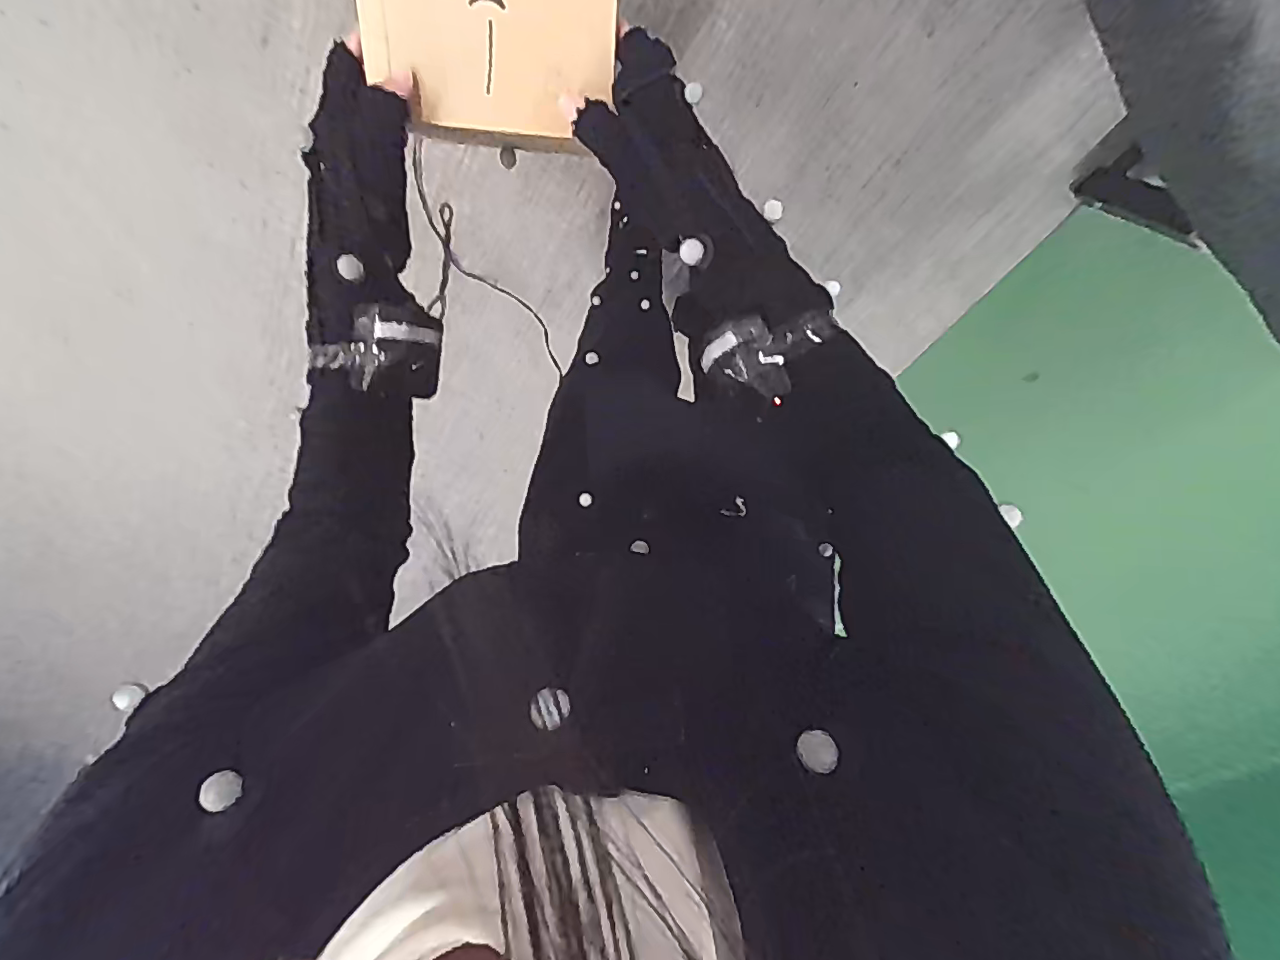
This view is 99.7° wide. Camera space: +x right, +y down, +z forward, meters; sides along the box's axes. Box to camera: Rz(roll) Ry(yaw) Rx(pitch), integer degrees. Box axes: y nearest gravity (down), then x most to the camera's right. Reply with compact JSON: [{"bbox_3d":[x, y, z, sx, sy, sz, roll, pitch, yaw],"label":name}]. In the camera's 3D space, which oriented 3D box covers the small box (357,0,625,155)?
[{"bbox_3d":[-0.097,-0.352,0.398,0.168,0.176,0.179,2,119,-6],"label":"small box"}]
